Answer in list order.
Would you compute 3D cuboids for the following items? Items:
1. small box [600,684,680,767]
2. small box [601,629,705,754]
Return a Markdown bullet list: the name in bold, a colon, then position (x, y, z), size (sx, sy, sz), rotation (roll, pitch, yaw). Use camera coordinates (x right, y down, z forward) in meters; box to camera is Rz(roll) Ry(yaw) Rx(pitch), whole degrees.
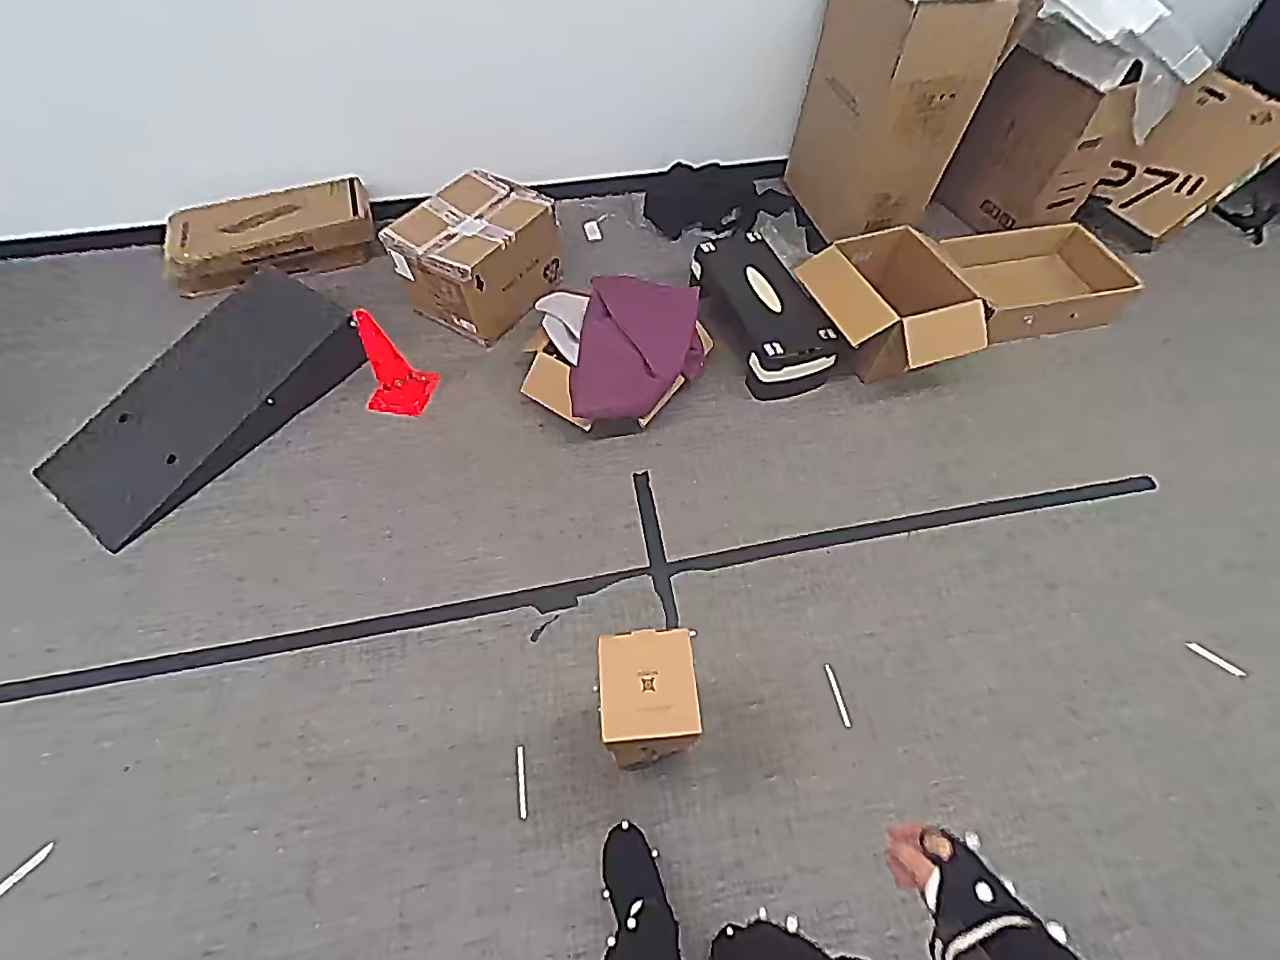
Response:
- **small box**: position (0.011, 0.555, 1.257), size (0.179, 0.176, 0.168), rotation (-12, 59, -8)
- **small box**: position (0.017, 0.385, 0.977), size (0.168, 0.176, 0.179), rotation (-5, 59, -2)
